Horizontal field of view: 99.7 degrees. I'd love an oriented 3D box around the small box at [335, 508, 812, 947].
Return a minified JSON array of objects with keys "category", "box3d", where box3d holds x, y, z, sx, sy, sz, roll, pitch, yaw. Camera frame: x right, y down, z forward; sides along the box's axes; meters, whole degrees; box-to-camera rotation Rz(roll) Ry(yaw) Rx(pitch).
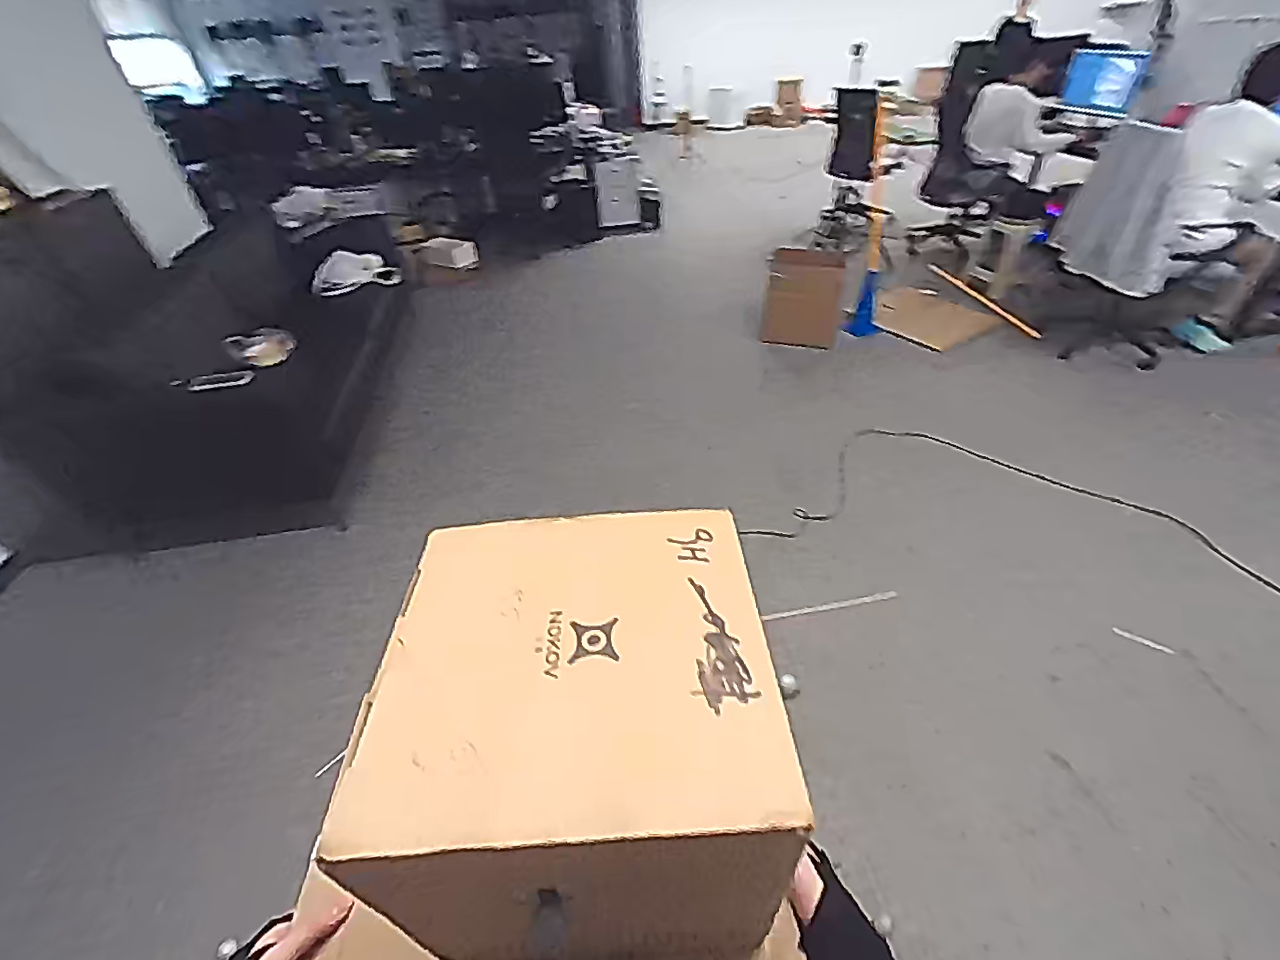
[{"category":"small box","box3d":[-0.021,0.136,0.302,0.179,0.176,0.168,-4,40,1]}]
